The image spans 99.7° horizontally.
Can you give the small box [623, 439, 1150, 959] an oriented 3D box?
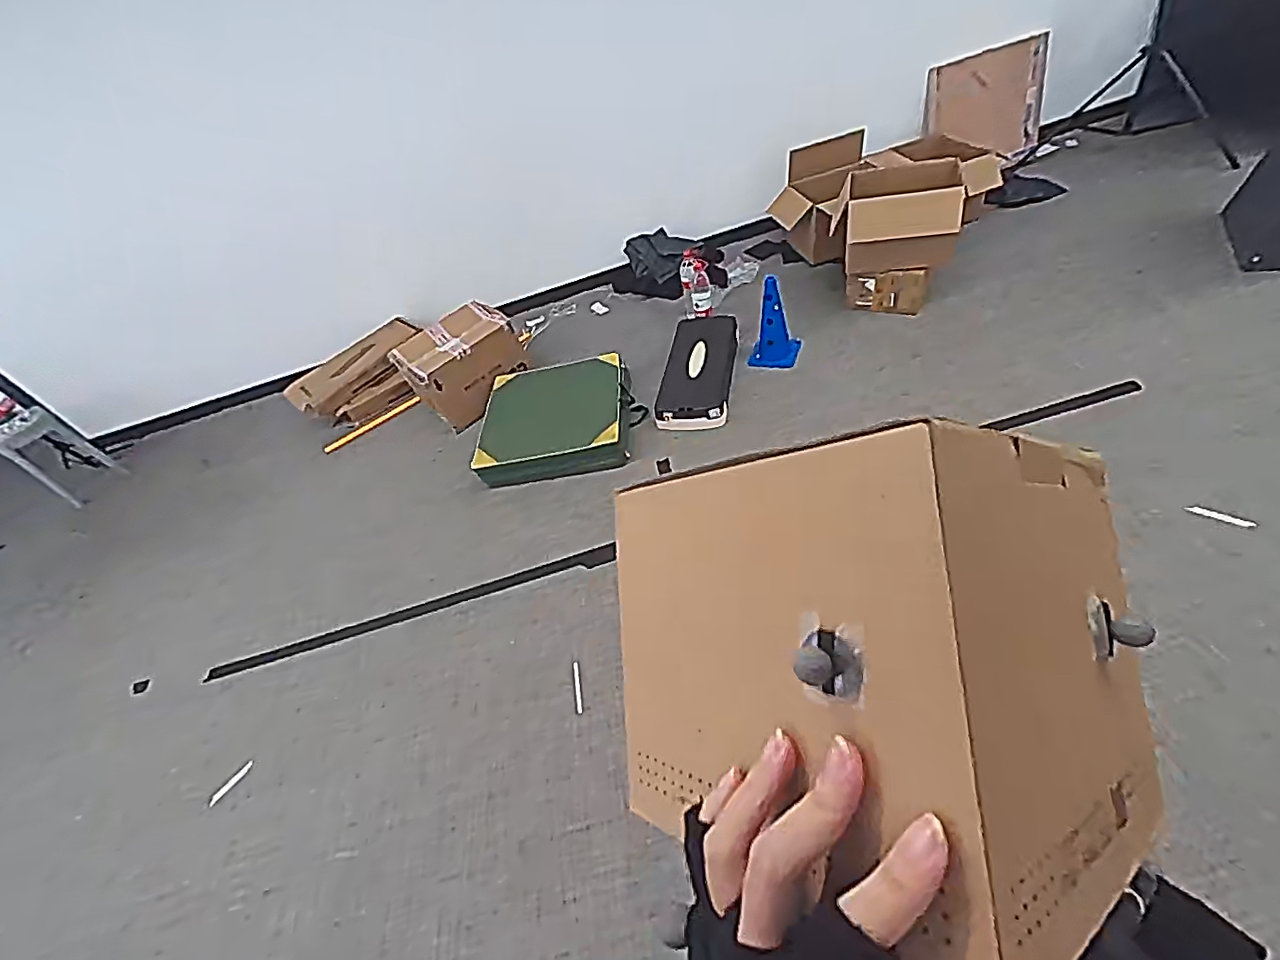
[{"bbox_3d":[0.110,0.083,0.268,0.179,0.168,0.176,-15,76,53],"label":"small box"}]
